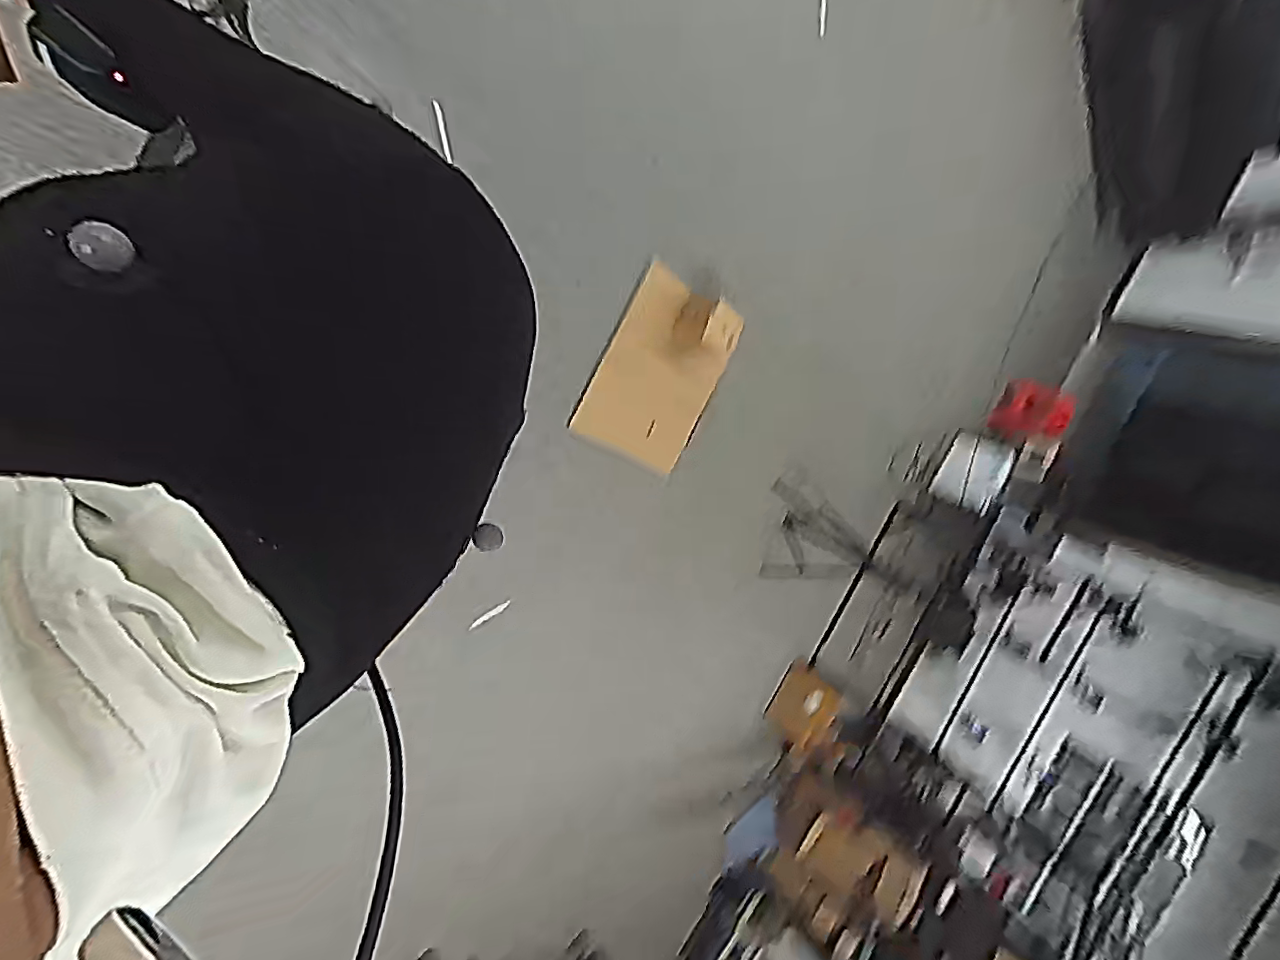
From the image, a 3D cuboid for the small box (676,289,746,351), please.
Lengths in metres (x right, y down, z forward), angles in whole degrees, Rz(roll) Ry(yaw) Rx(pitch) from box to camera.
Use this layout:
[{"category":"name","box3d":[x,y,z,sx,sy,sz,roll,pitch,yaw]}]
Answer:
[{"category":"small box","box3d":[0.270,-0.623,2.093,0.179,0.176,0.168,26,93,-44]}]
